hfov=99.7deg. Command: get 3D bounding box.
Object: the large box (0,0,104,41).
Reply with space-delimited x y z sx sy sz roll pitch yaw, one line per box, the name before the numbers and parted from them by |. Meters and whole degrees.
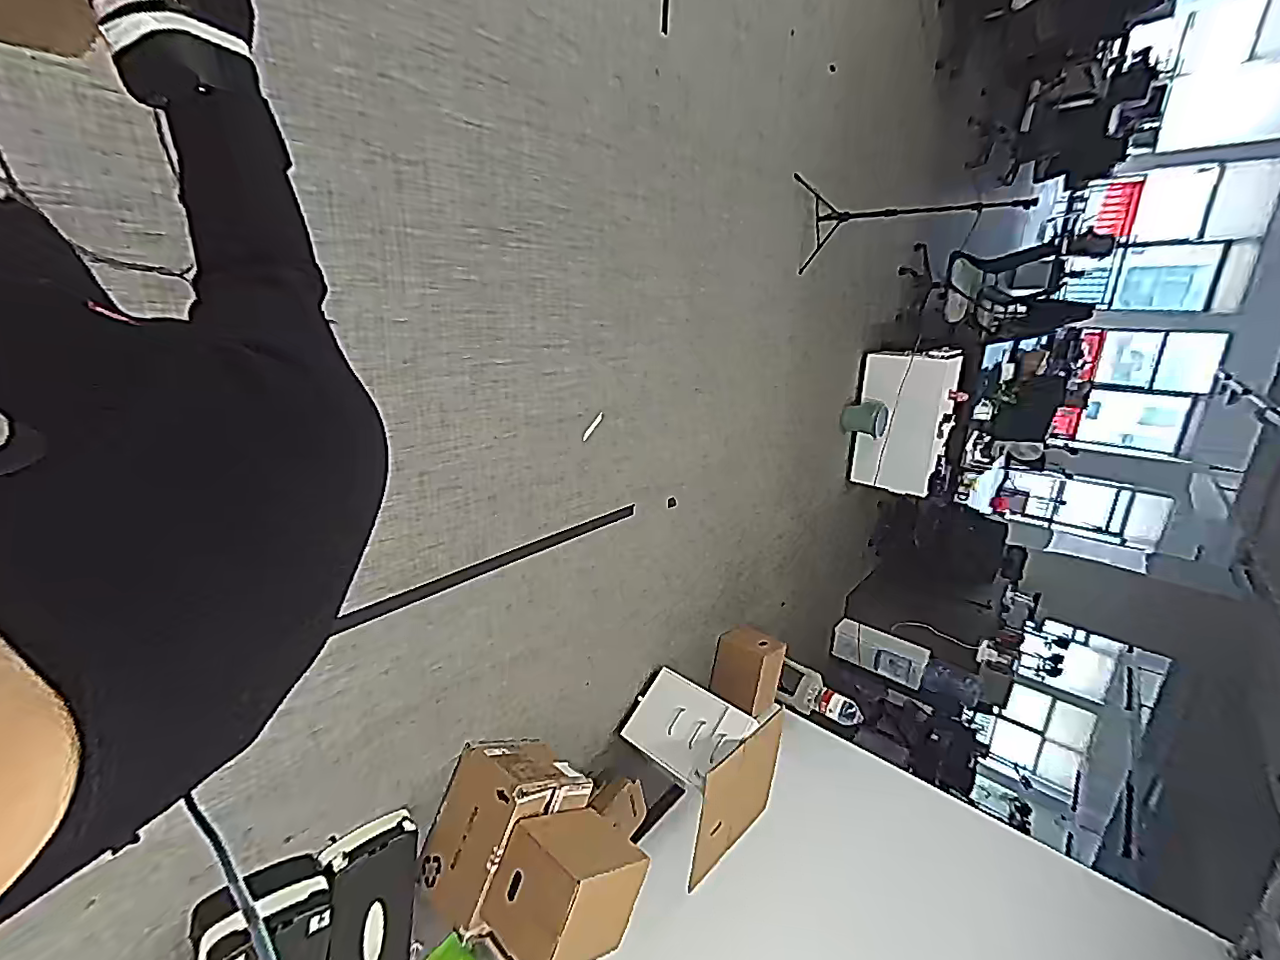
large box | -0.560 -0.466 0.241 0.408 0.320 0.320 -22 125 -46
